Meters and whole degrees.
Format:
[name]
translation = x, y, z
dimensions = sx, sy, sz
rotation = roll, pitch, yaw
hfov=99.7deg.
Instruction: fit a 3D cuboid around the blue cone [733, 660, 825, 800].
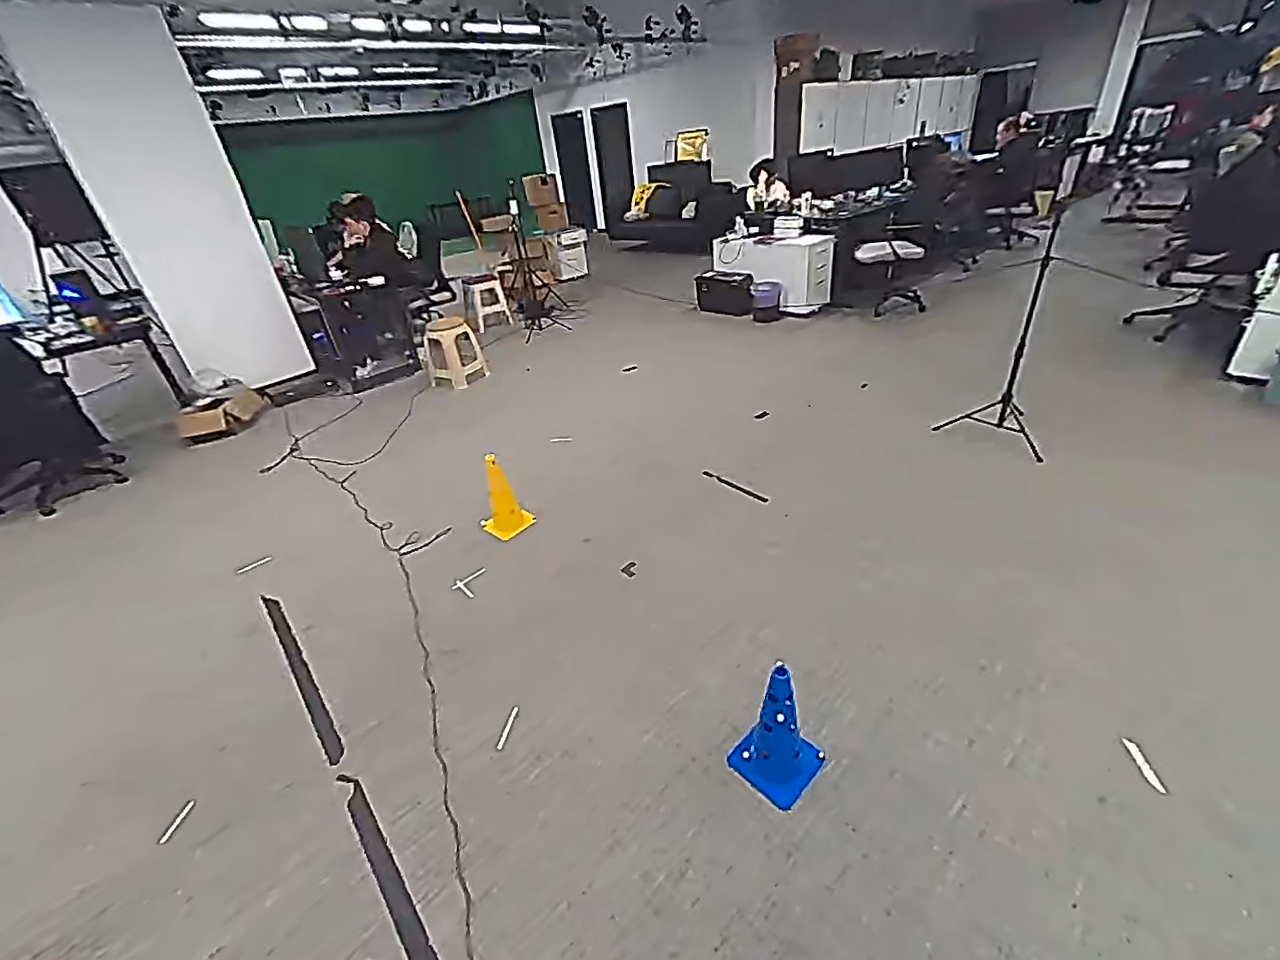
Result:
[blue cone]
translation = 0.350, 0.595, 1.350
dimensions = 0.192, 0.380, 0.193
rotation = -29, 37, -32
